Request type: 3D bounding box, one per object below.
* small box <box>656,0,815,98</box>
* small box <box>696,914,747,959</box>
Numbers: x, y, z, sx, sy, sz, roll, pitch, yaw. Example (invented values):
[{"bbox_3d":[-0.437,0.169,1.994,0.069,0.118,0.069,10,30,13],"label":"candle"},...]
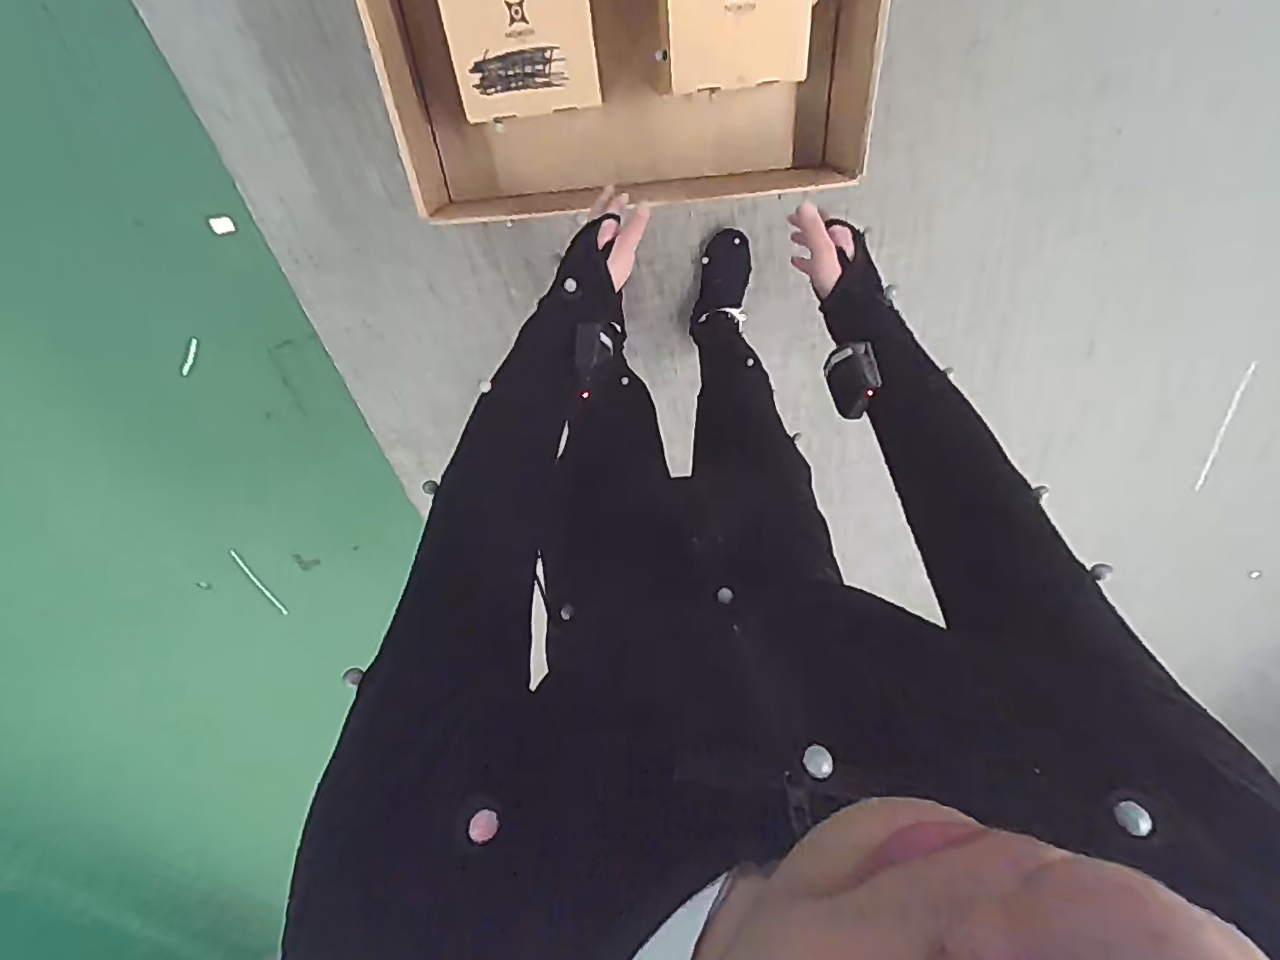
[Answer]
[{"bbox_3d":[0.108,-0.582,0.663,0.168,0.176,0.179,-6,127,0],"label":"small box"},{"bbox_3d":[0.301,1.715,1.970,0.168,0.176,0.179,-10,125,1],"label":"small box"}]
